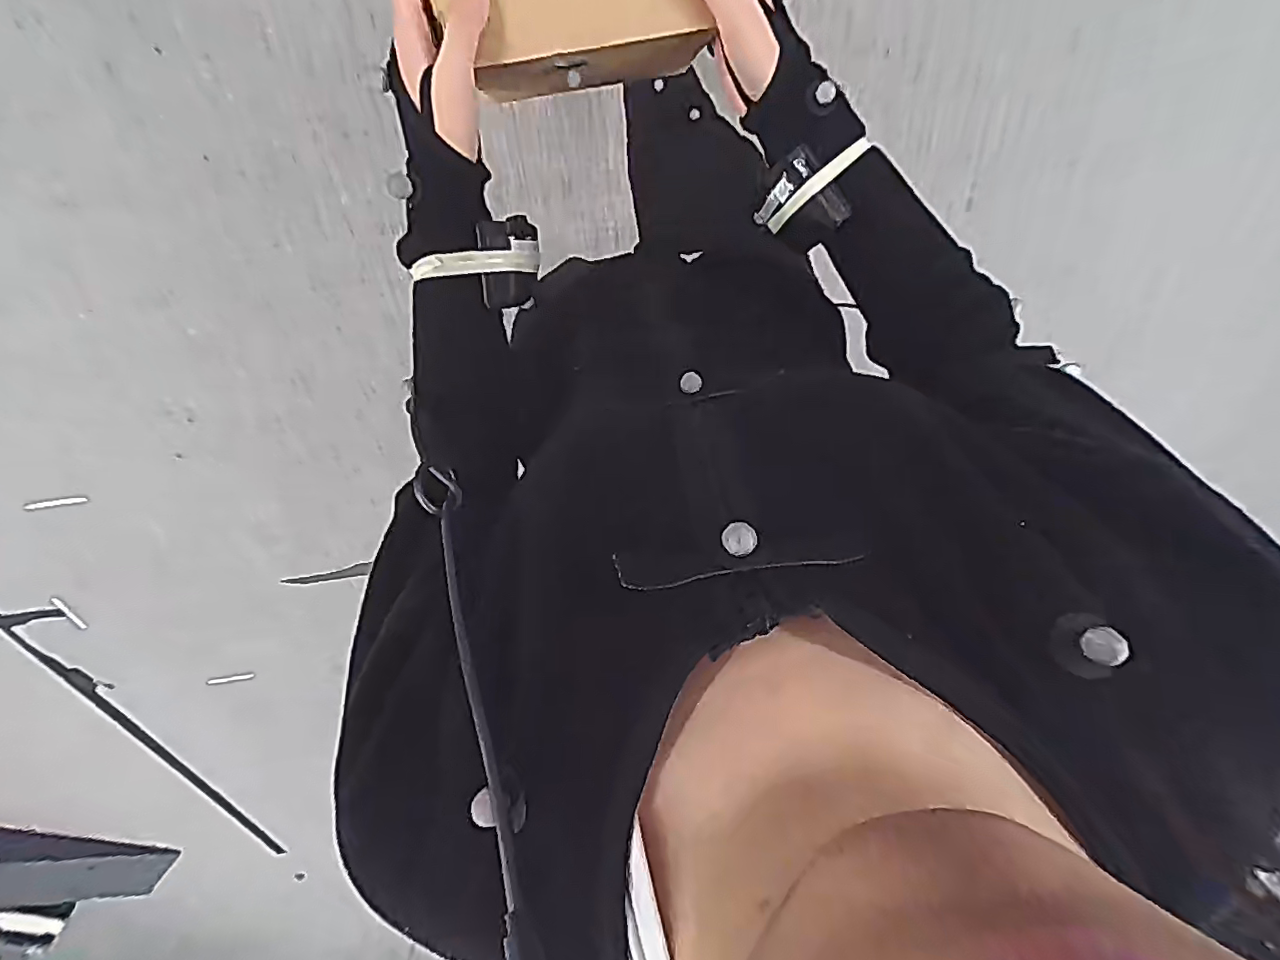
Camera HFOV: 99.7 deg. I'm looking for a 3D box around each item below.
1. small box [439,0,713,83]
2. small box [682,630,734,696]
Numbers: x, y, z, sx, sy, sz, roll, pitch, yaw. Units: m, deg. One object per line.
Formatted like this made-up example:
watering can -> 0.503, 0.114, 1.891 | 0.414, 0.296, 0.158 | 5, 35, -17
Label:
small box -> -0.050, -0.393, 0.368 | 0.179, 0.176, 0.168 | -10, 120, 1
small box -> 0.259, 0.708, 2.099 | 0.168, 0.176, 0.179 | -7, 127, -5
